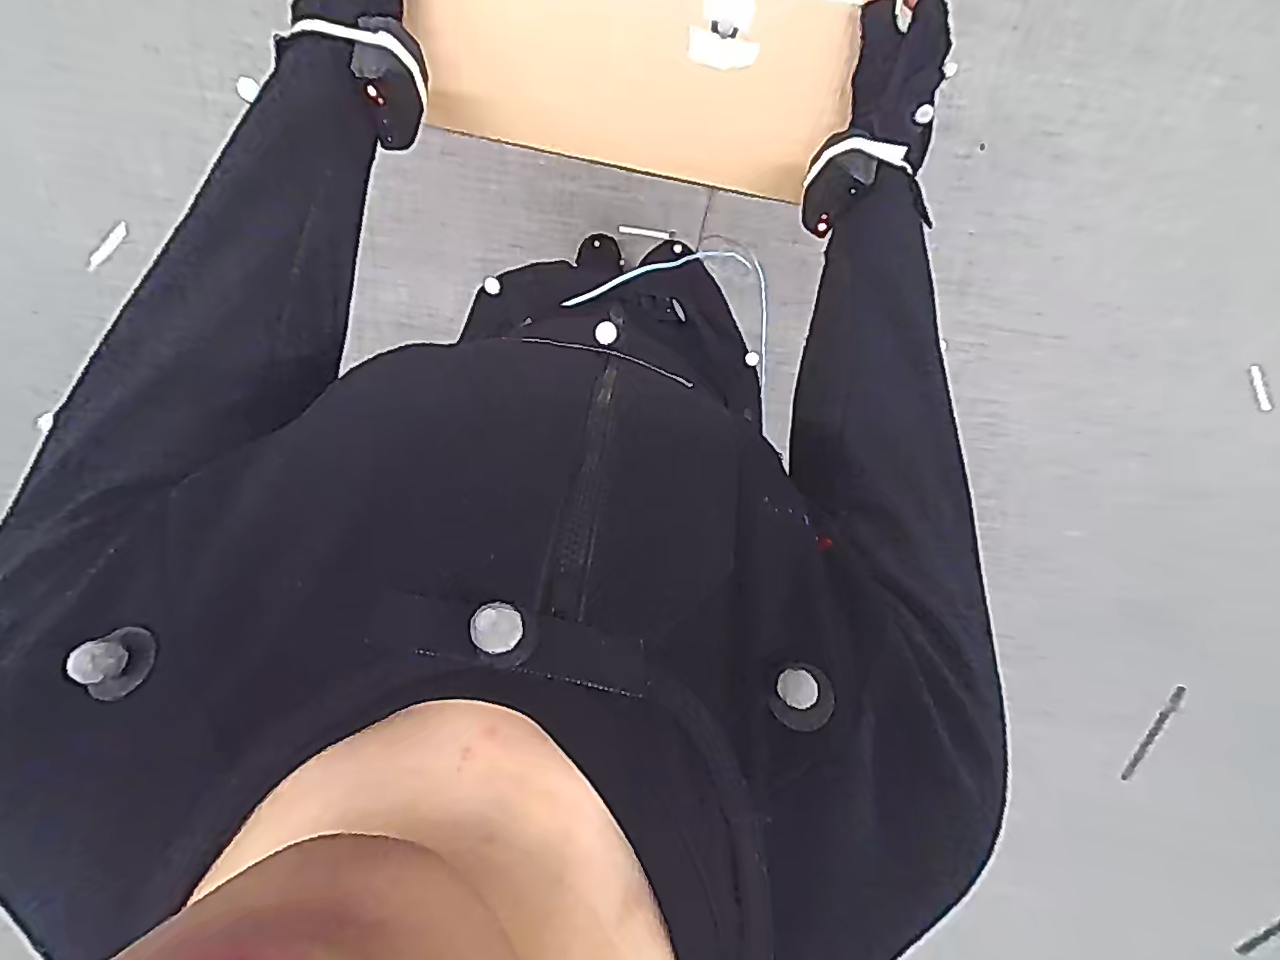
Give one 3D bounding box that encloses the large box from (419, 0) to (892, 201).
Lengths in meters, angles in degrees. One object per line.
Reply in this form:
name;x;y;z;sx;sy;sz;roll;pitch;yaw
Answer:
large box;0.016;-0.507;0.571;0.408;0.320;0.320;9;120;-6
